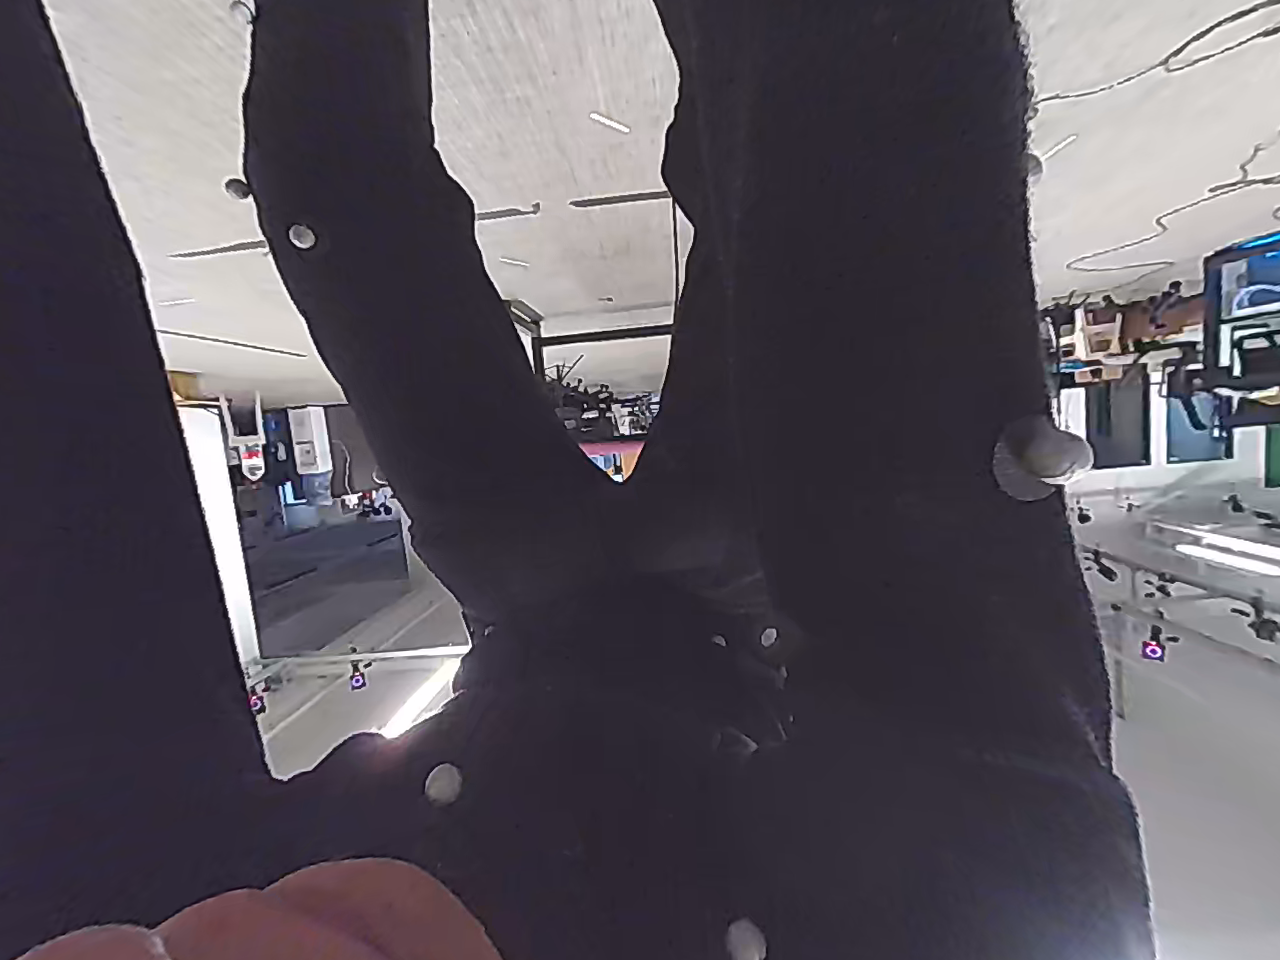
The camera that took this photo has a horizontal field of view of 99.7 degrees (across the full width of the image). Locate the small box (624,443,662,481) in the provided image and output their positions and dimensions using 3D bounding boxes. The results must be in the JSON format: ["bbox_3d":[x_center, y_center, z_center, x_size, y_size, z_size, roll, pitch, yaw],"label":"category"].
[{"bbox_3d":[0.016,-0.093,2.678,0.179,0.176,0.168,-4,-172,7],"label":"small box"}]
